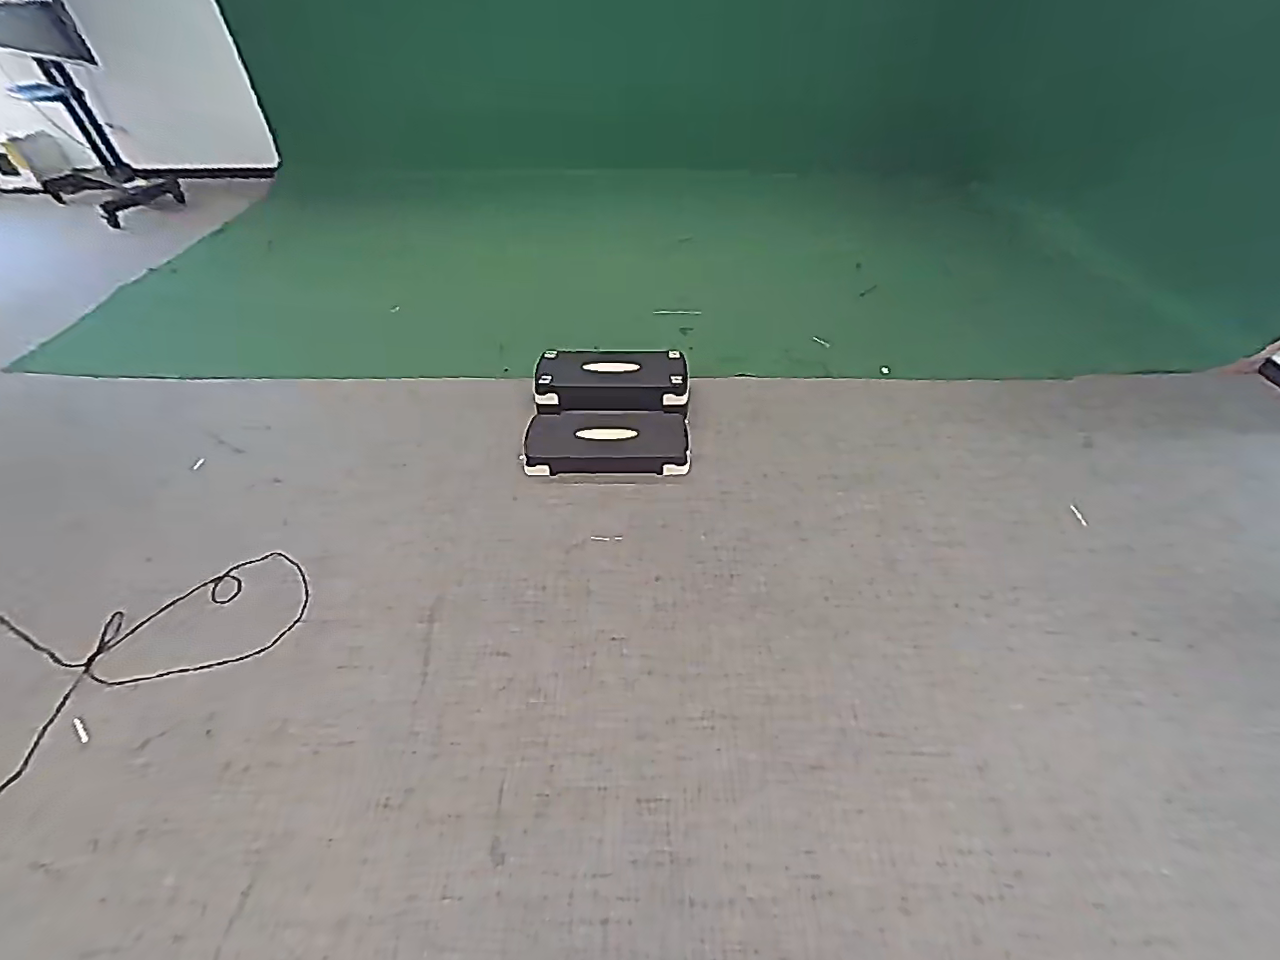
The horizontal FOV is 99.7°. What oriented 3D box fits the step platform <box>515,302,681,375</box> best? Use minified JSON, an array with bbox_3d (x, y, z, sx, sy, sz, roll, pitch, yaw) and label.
[{"bbox_3d":[-0.171,-0.600,2.298,0.684,0.204,0.286,-1,46,1],"label":"step platform"}]
